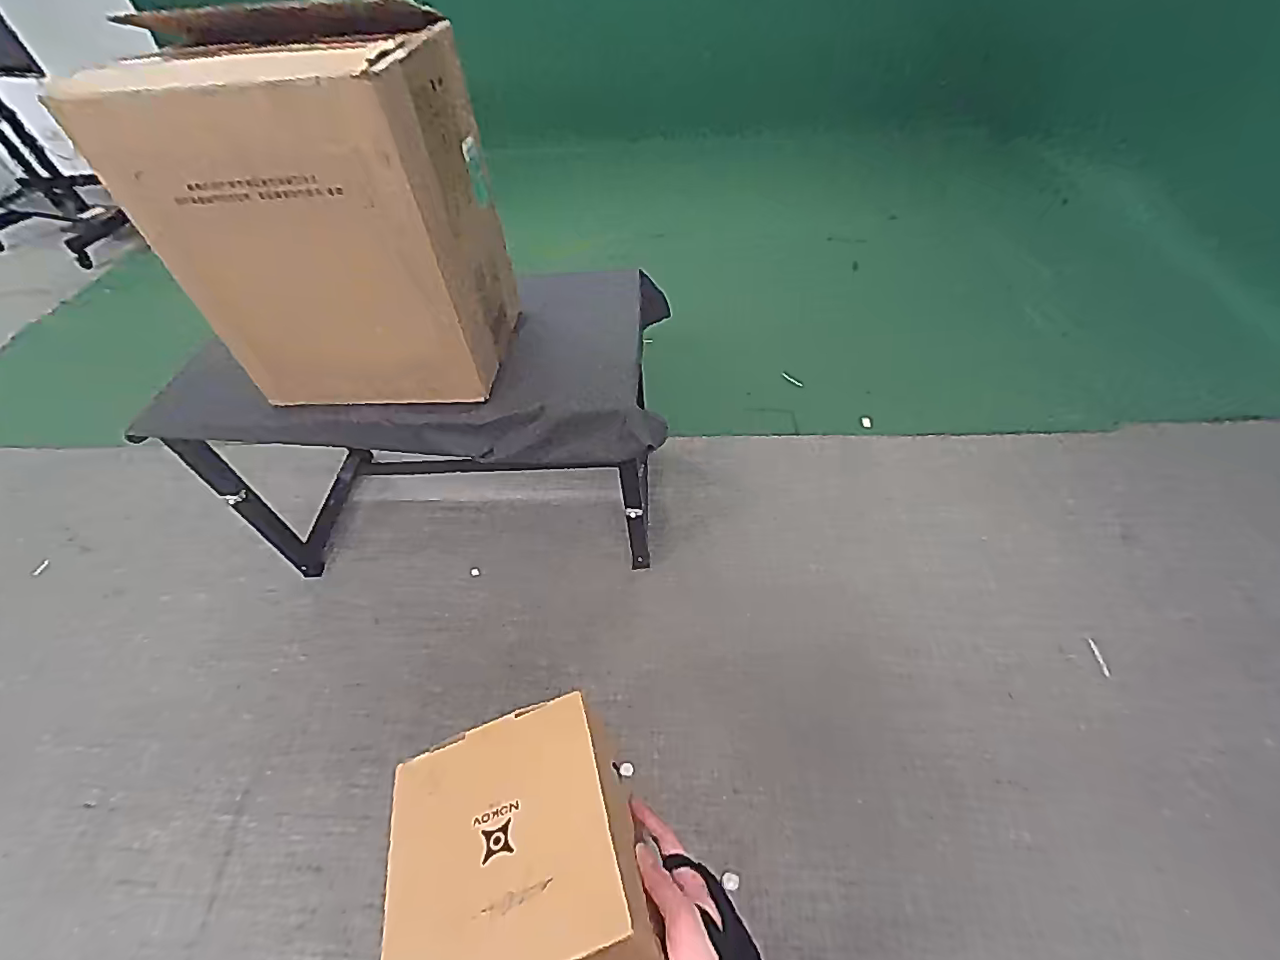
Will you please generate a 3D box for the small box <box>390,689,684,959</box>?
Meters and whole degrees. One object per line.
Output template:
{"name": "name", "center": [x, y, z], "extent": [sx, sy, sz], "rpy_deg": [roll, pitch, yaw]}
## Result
{"name": "small box", "center": [-0.078, 0.314, 0.438], "extent": [0.168, 0.176, 0.179], "rpy_deg": [-22, 39, -5]}
